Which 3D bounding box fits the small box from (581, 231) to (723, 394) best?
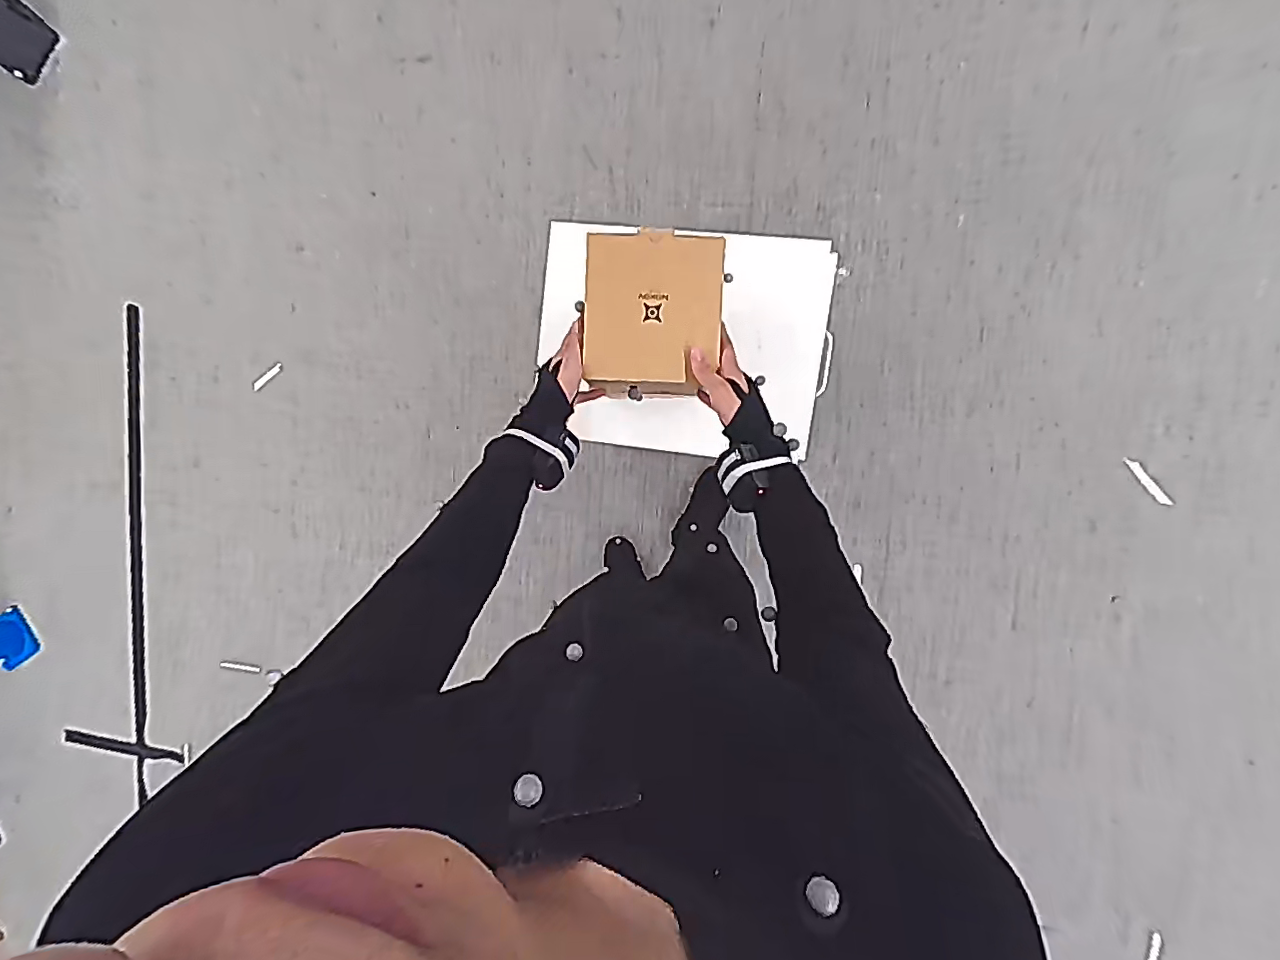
[{"bbox_3d":[0.017,-0.211,0.724,0.168,0.176,0.179,2,93,2],"label":"small box"}]
